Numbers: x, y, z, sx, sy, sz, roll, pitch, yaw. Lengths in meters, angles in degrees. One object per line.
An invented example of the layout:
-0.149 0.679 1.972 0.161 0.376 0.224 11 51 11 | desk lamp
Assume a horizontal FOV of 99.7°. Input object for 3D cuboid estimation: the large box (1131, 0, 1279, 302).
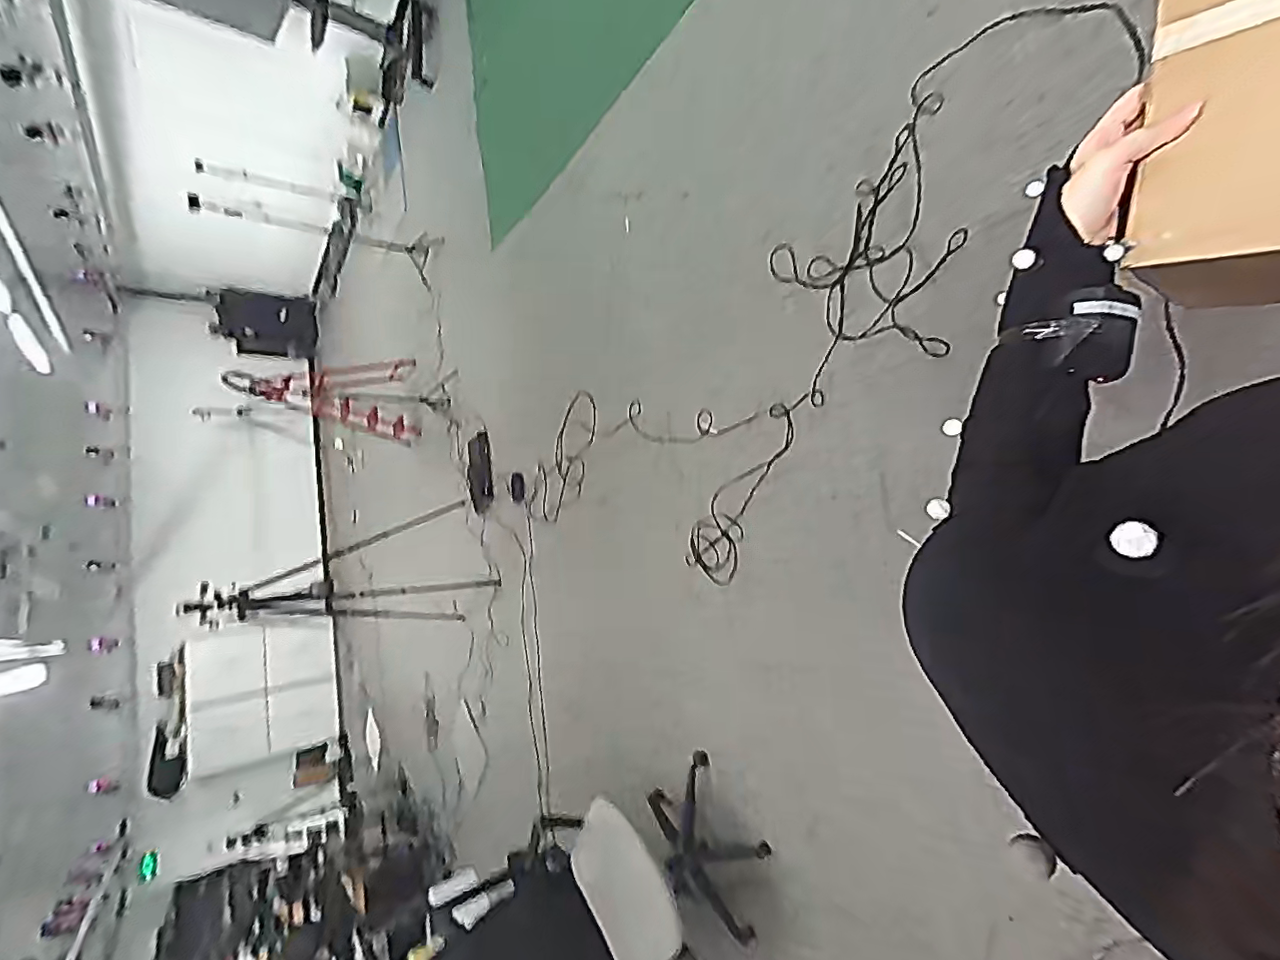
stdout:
0.638 -0.311 0.349 0.408 0.320 0.320 12 104 52 | large box
